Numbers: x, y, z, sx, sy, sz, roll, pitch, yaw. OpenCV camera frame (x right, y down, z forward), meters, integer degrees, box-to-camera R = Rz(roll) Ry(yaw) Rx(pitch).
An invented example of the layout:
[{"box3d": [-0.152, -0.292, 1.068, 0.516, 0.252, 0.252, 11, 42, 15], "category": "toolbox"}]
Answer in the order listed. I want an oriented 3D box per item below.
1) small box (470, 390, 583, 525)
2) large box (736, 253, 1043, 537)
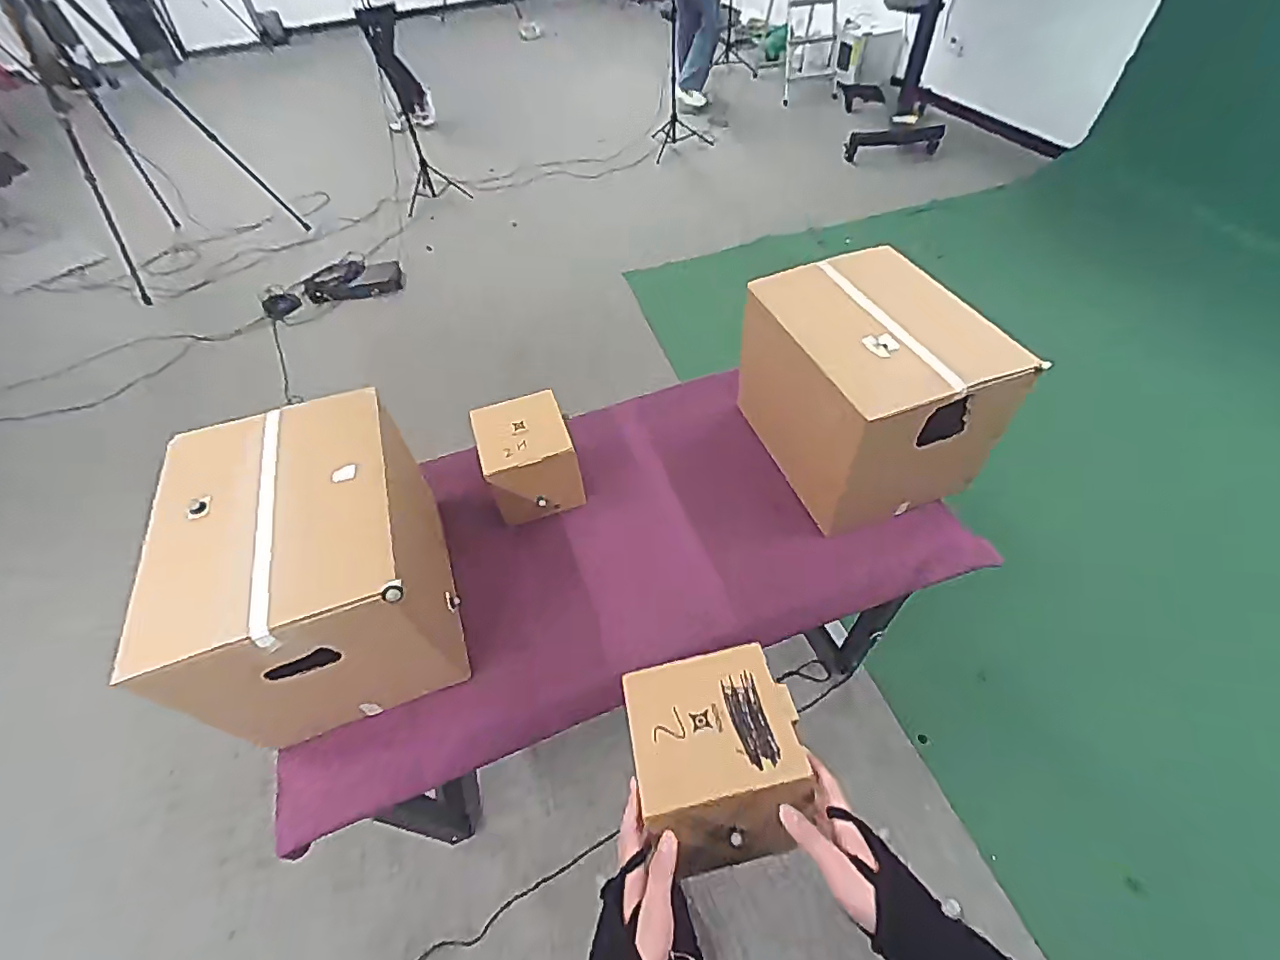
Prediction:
[{"box3d": [-0.219, -0.043, 1.061, 0.168, 0.176, 0.179, -18, 53, -9], "category": "small box"}, {"box3d": [0.416, -0.168, 1.033, 0.320, 0.320, 0.408, -18, 53, -8], "category": "large box"}]
